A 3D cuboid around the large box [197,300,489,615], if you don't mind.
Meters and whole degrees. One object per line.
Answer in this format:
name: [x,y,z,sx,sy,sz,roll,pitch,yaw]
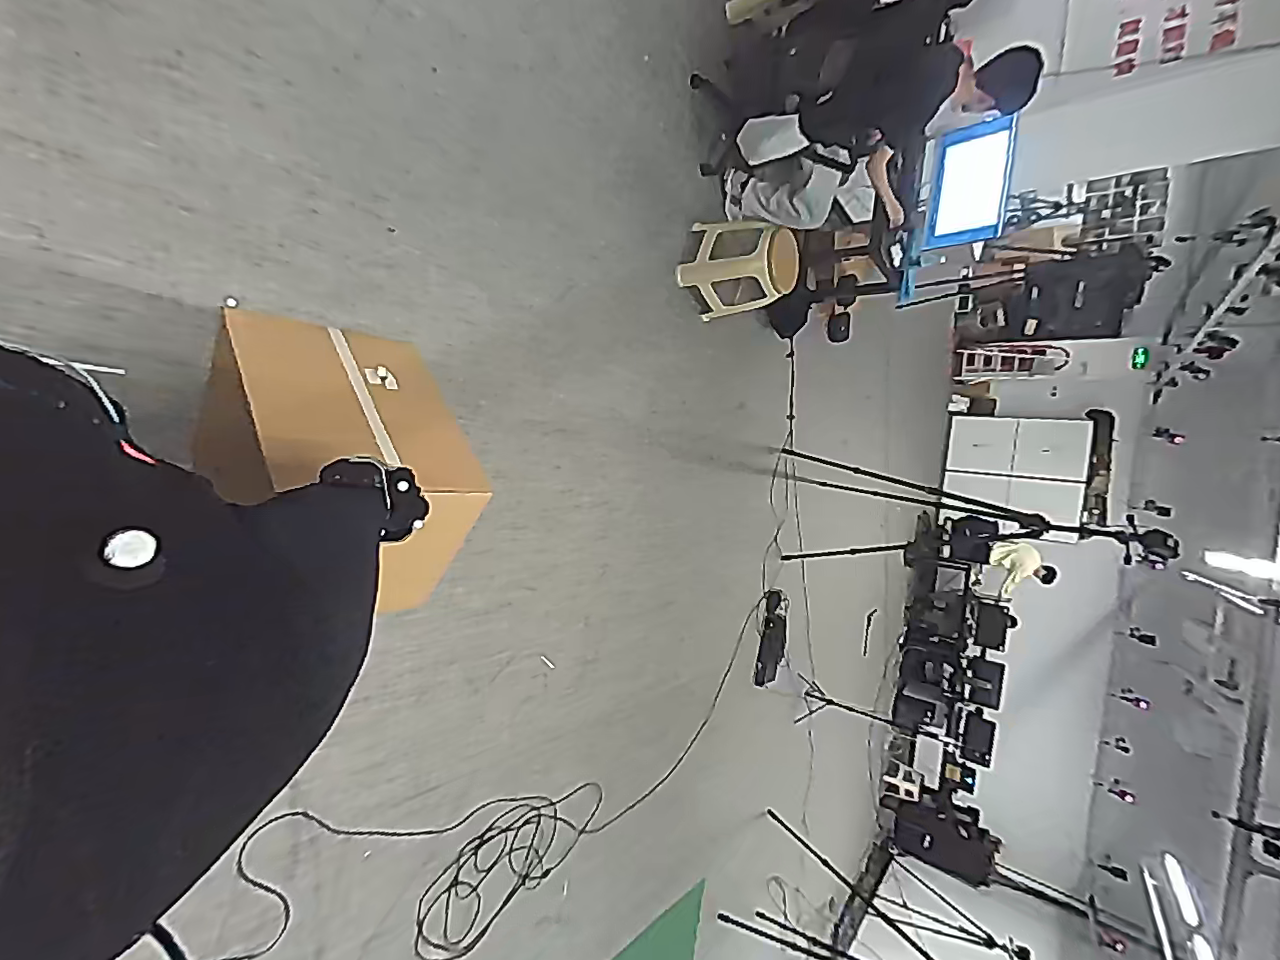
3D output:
large box: [-0.532,-0.038,0.943,0.320,0.408,0.320,2,134,-49]
